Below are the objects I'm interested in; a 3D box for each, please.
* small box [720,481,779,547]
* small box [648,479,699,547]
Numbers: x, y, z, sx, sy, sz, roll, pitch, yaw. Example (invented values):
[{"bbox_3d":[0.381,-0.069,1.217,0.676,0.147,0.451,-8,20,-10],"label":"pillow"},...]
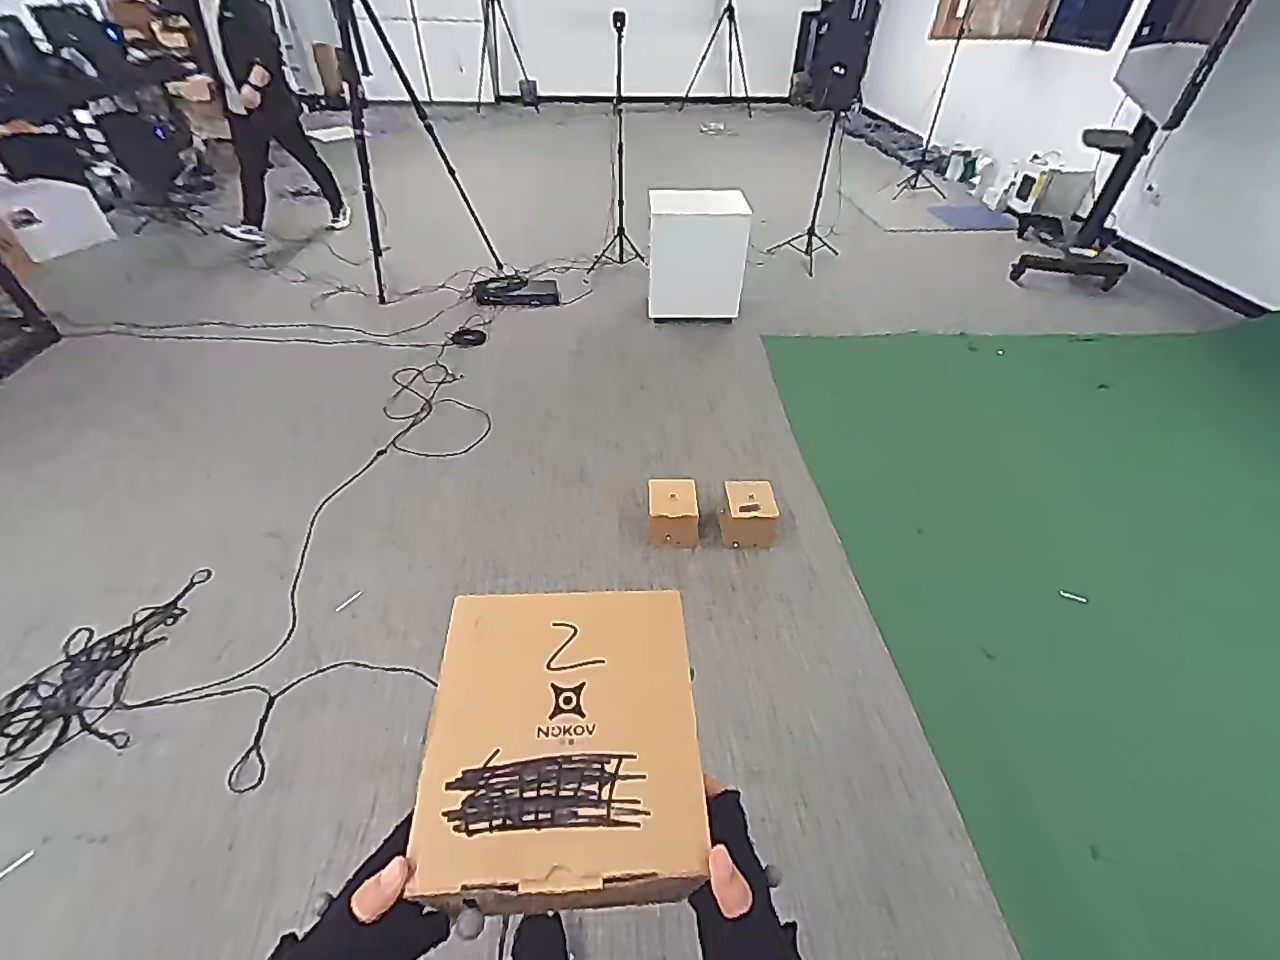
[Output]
[{"bbox_3d":[0.383,0.123,1.918,0.168,0.176,0.179,0,43,-2],"label":"small box"},{"bbox_3d":[0.114,0.116,1.918,0.168,0.176,0.179,0,44,-2],"label":"small box"}]
